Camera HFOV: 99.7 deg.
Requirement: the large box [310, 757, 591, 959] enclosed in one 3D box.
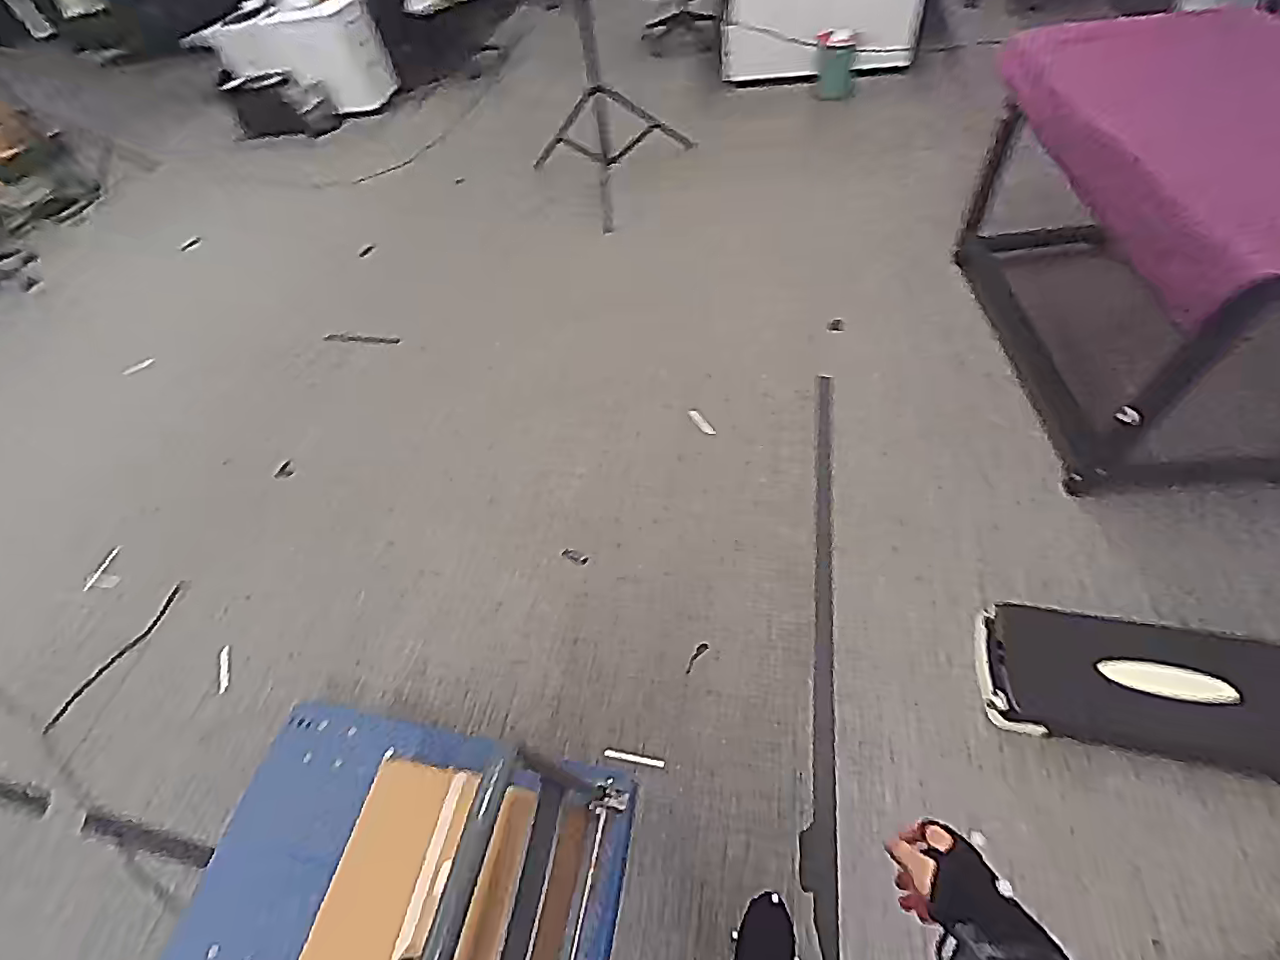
[{"bbox_3d":[-0.306,0.750,0.932,0.320,0.320,0.408,5,56,14],"label":"large box"}]
